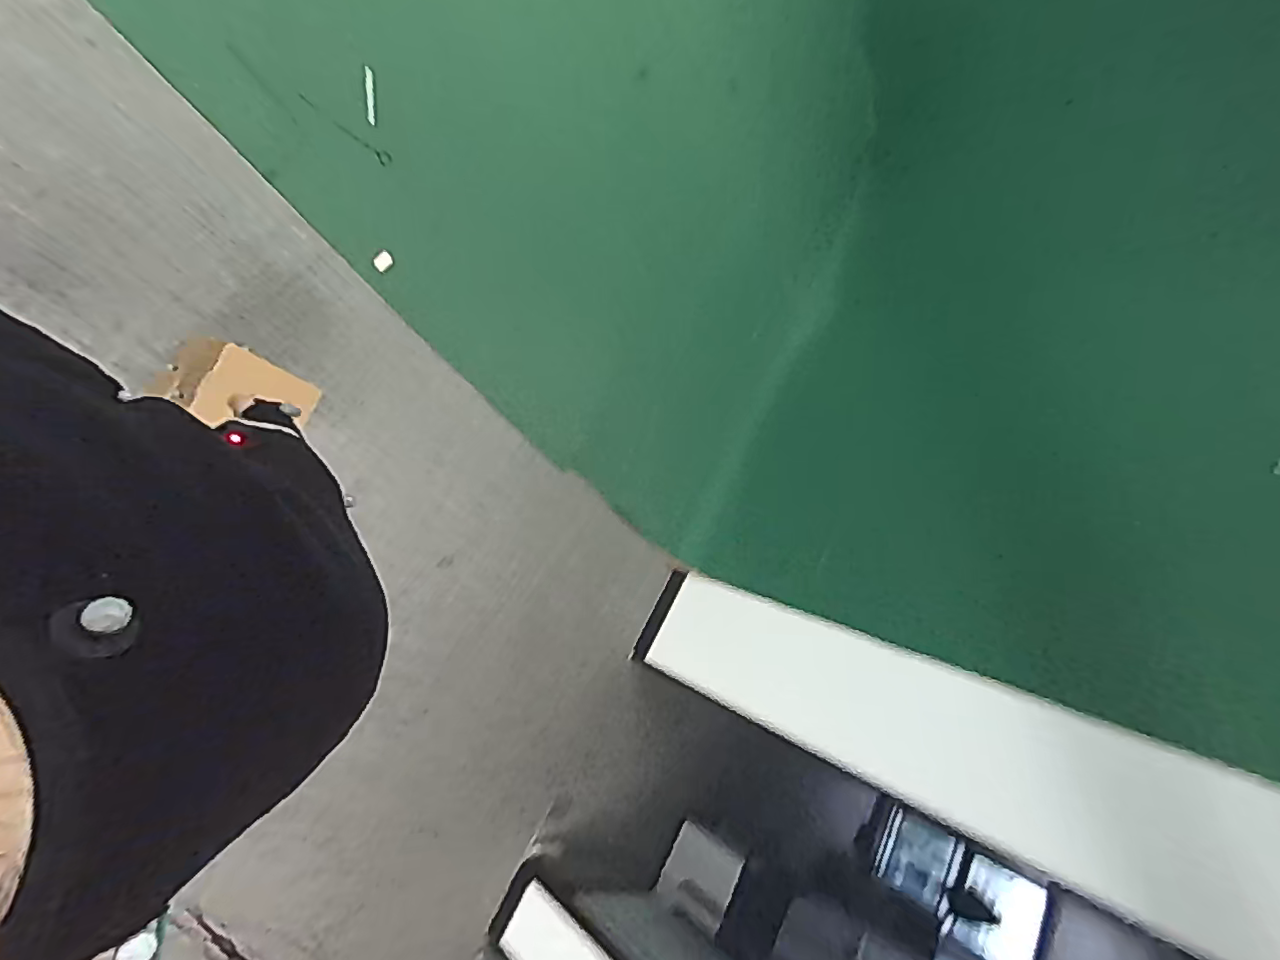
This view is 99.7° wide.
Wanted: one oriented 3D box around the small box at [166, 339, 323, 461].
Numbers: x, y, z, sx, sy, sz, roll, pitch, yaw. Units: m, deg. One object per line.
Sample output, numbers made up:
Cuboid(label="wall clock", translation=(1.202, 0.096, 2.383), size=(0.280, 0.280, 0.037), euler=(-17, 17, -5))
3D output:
Cuboid(label="small box", translation=(-0.767, -0.155, 1.047), size=(0.179, 0.176, 0.168), euler=(37, 74, -48))
